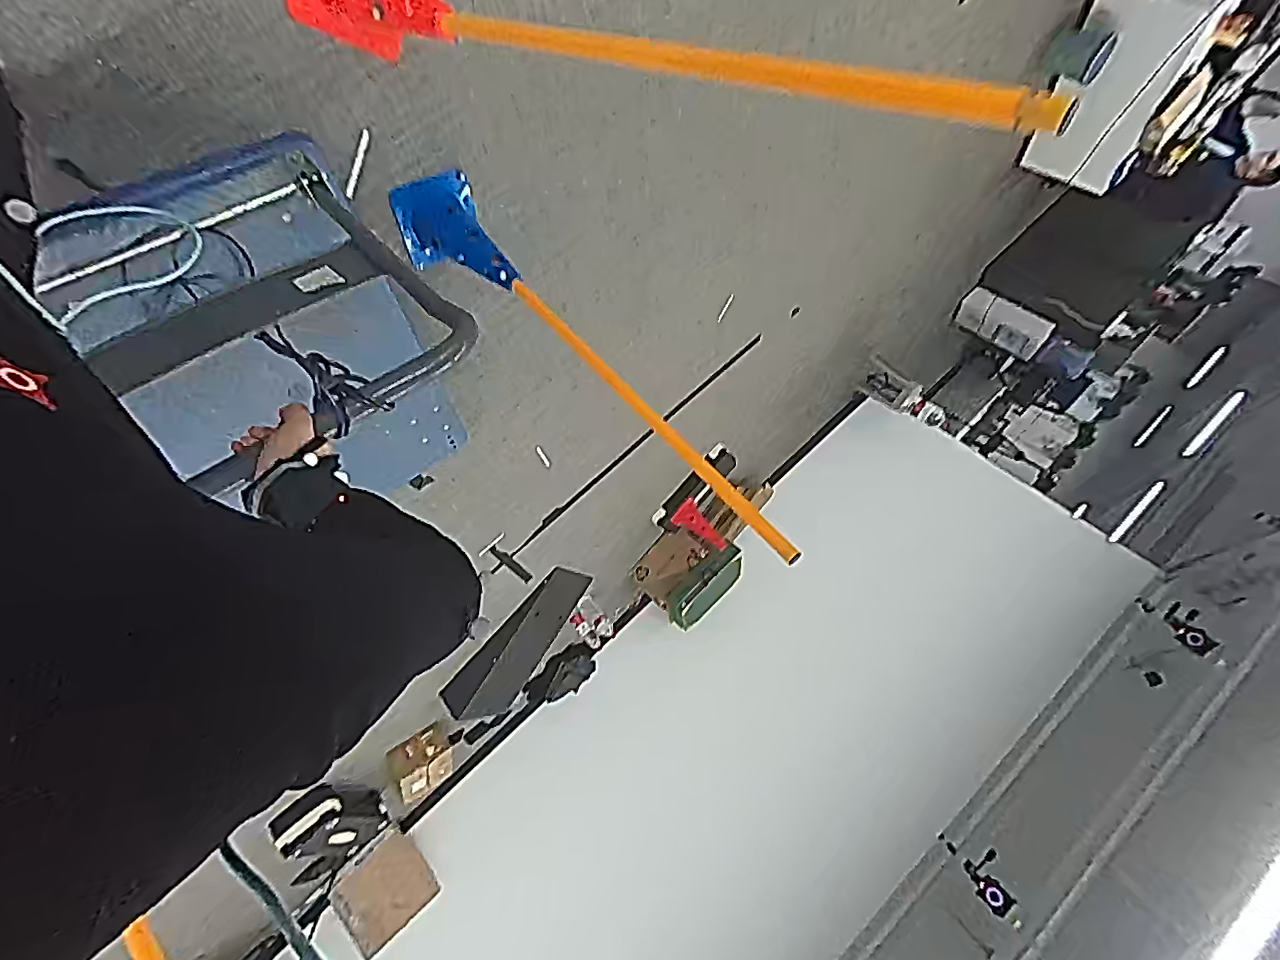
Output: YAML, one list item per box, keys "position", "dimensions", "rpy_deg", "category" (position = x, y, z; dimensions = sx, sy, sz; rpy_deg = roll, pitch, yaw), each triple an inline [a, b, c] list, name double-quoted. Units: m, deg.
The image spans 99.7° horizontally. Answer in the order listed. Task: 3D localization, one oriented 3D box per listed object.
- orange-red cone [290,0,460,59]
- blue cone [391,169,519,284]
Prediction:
- position: [-0.395, -0.787, 0.883]
  dimensions: [0.198, 0.360, 0.199]
  rpy_deg: [-10, 138, -49]
  category: "orange-red cone"
- position: [-0.394, -0.545, 1.255]
  dimensions: [0.193, 0.380, 0.192]
  rpy_deg: [-34, 150, -25]
  category: "blue cone"
